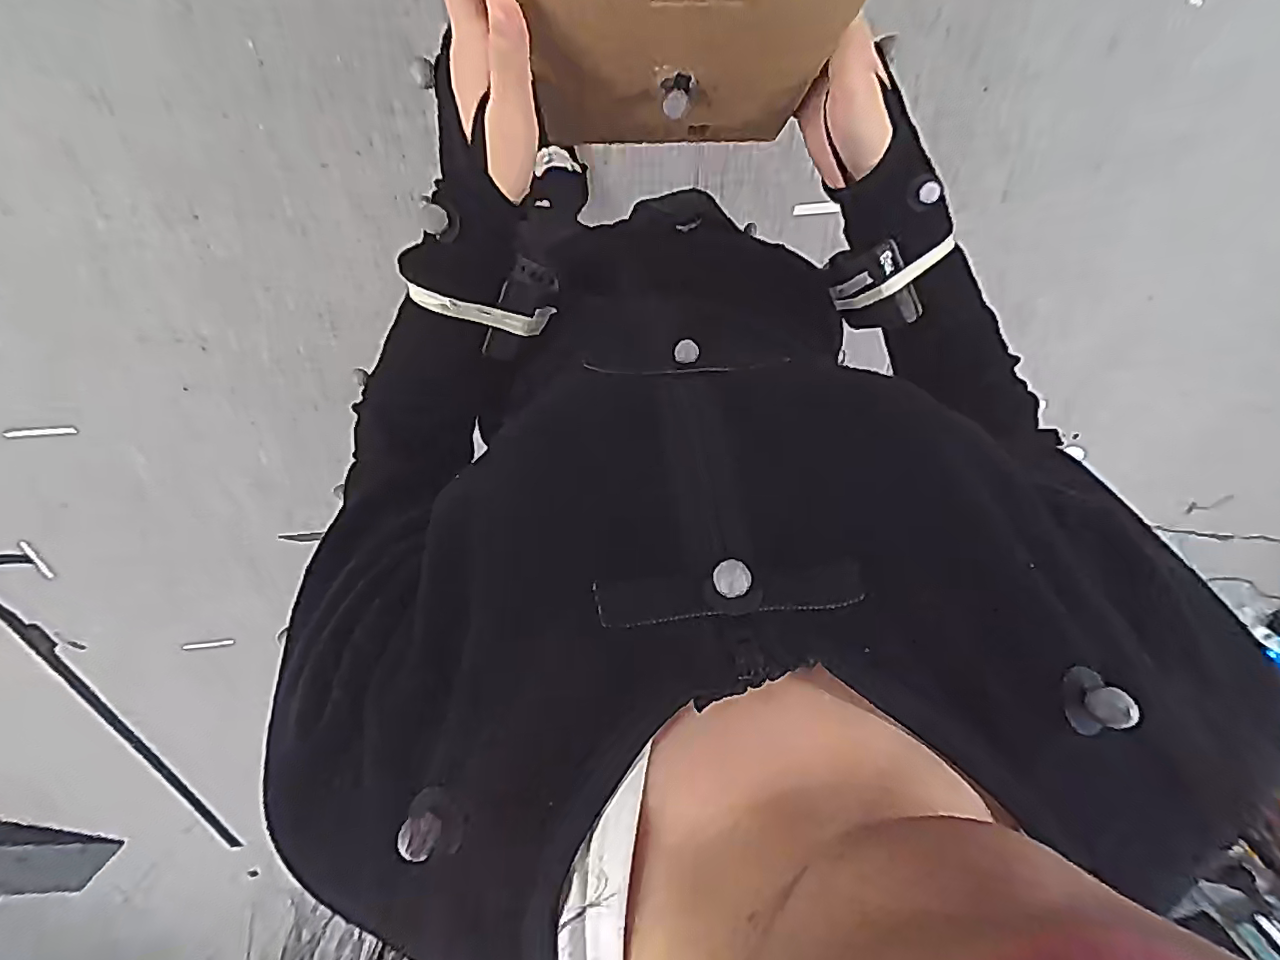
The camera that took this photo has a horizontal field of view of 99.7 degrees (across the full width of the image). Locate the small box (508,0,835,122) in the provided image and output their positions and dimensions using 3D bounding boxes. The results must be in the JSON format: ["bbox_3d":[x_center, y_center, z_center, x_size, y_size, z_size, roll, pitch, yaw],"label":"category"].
[{"bbox_3d":[0.017,-0.318,0.289,0.168,0.176,0.179,-2,101,-2],"label":"small box"}]
